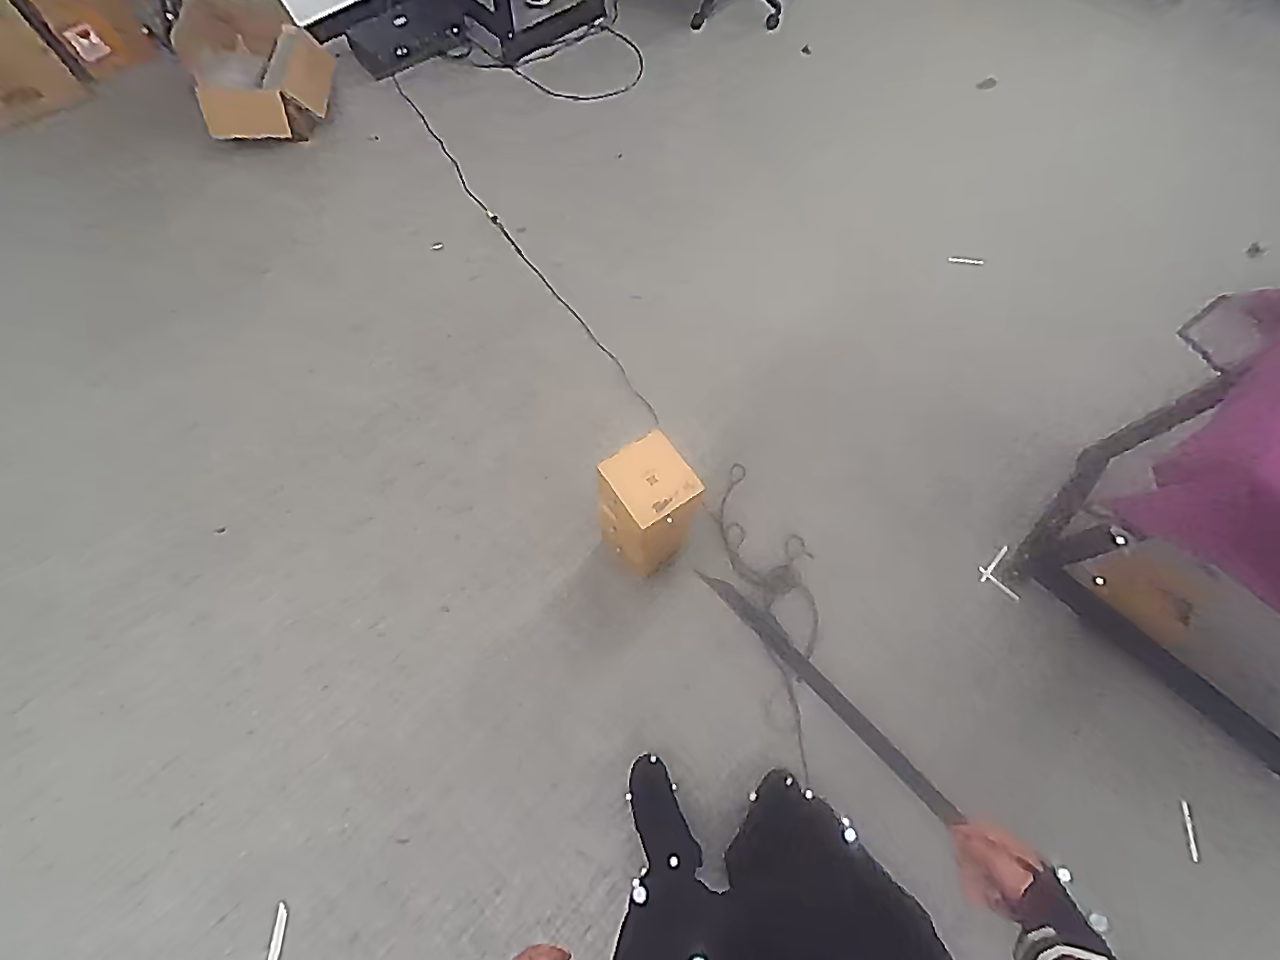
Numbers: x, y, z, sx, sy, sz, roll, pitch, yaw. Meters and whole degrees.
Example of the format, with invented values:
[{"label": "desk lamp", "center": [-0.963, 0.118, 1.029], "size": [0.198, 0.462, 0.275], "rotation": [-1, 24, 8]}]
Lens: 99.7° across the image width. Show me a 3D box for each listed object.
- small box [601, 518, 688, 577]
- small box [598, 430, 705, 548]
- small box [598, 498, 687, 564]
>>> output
[{"label": "small box", "center": [0.009, 0.147, 1.510], "size": [0.168, 0.176, 0.179], "rotation": [-41, 75, -16]}, {"label": "small box", "center": [0.020, 0.026, 1.208], "size": [0.168, 0.176, 0.179], "rotation": [-32, 71, -14]}, {"label": "small box", "center": [0.016, 0.086, 1.361], "size": [0.179, 0.176, 0.168], "rotation": [-39, 74, -16]}]
